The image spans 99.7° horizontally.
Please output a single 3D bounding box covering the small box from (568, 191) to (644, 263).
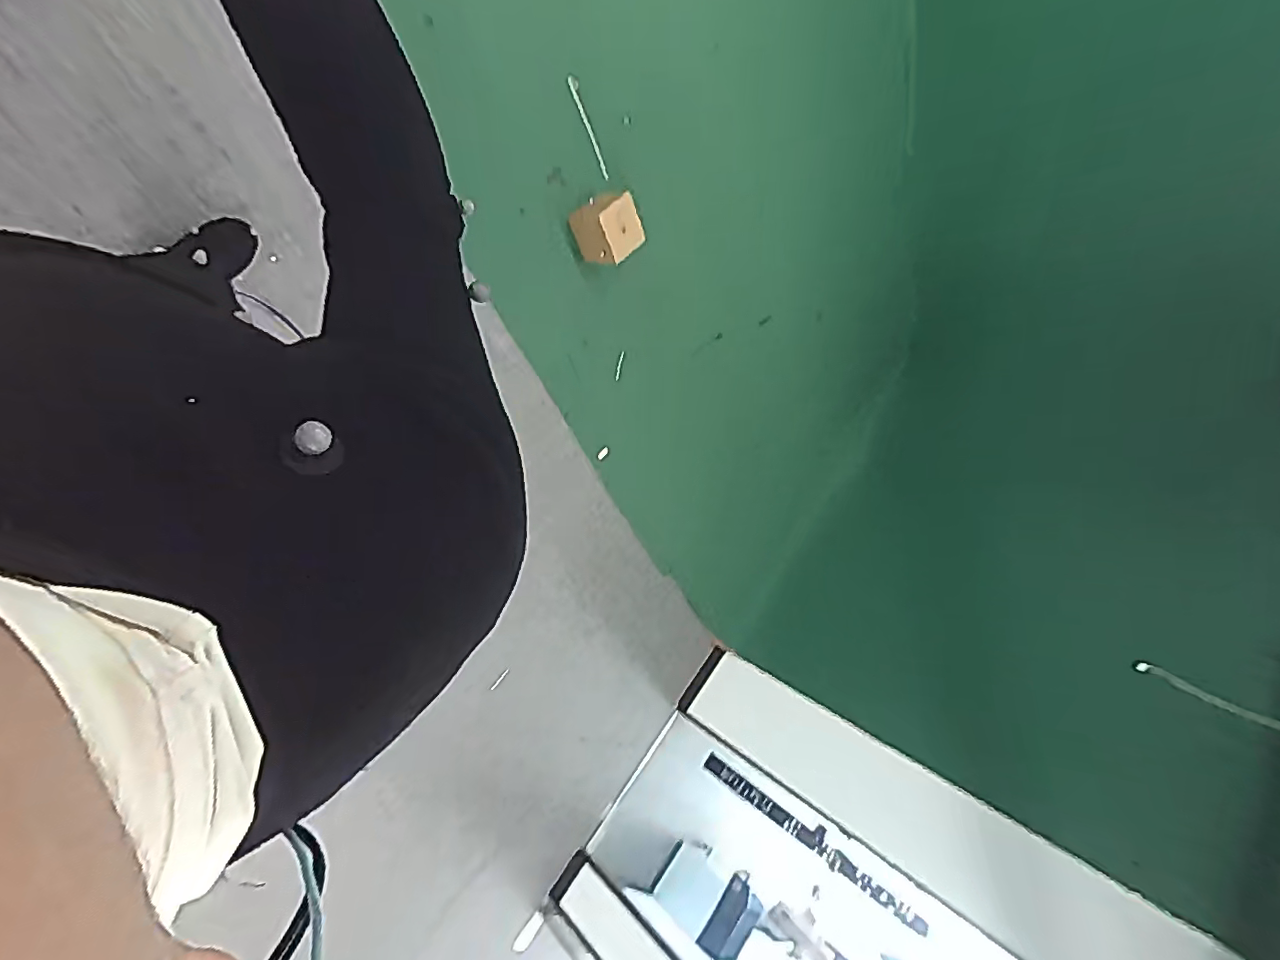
[{"bbox_3d":[-0.120,-0.886,1.887,0.168,0.176,0.179,-48,136,-22],"label":"small box"}]
